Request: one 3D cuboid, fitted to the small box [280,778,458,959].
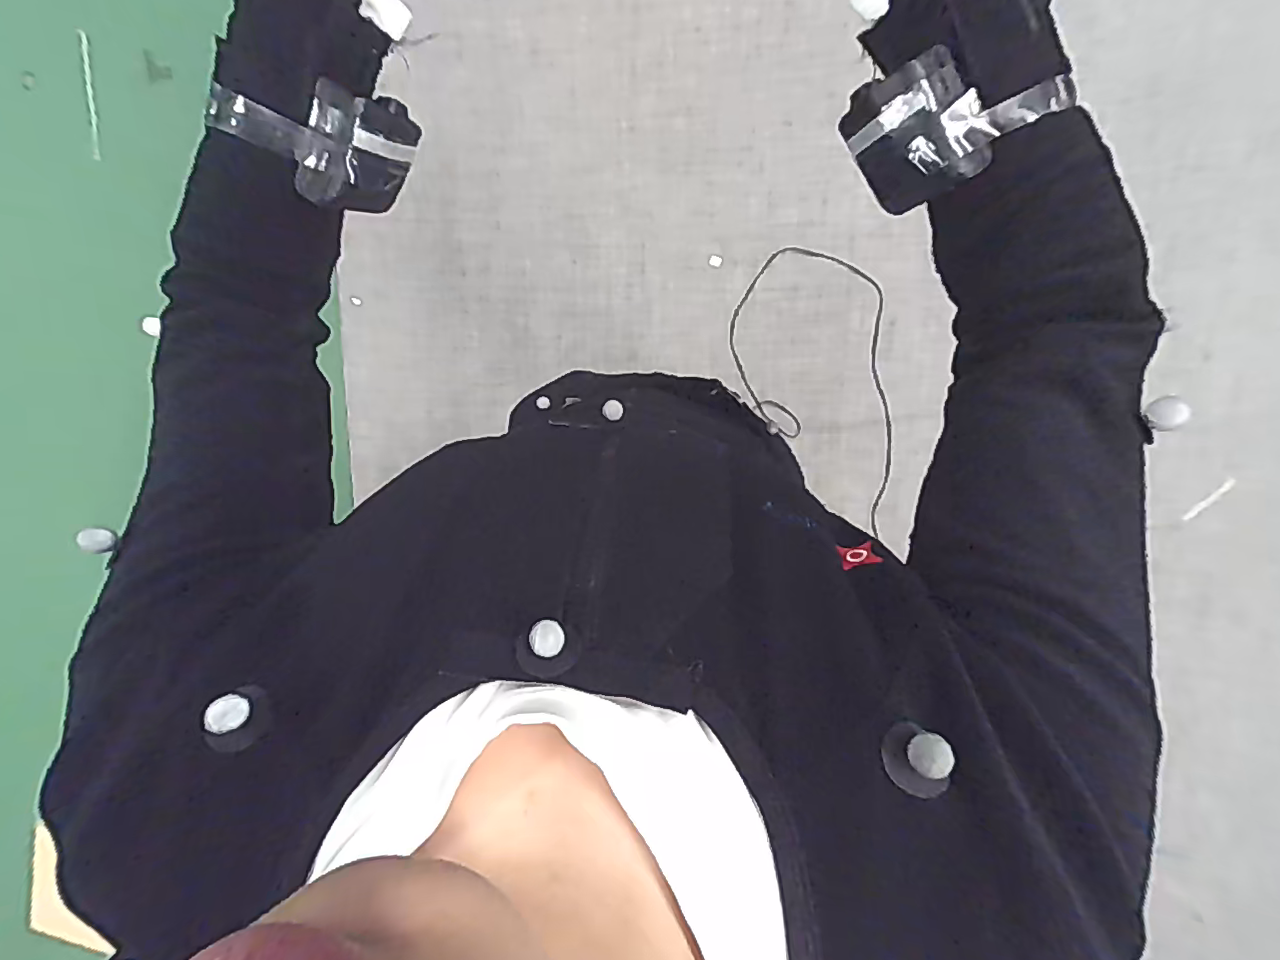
[{"bbox_3d":[-0.377,0.568,0.782,0.168,0.176,0.179,2,102,6],"label":"small box"}]
